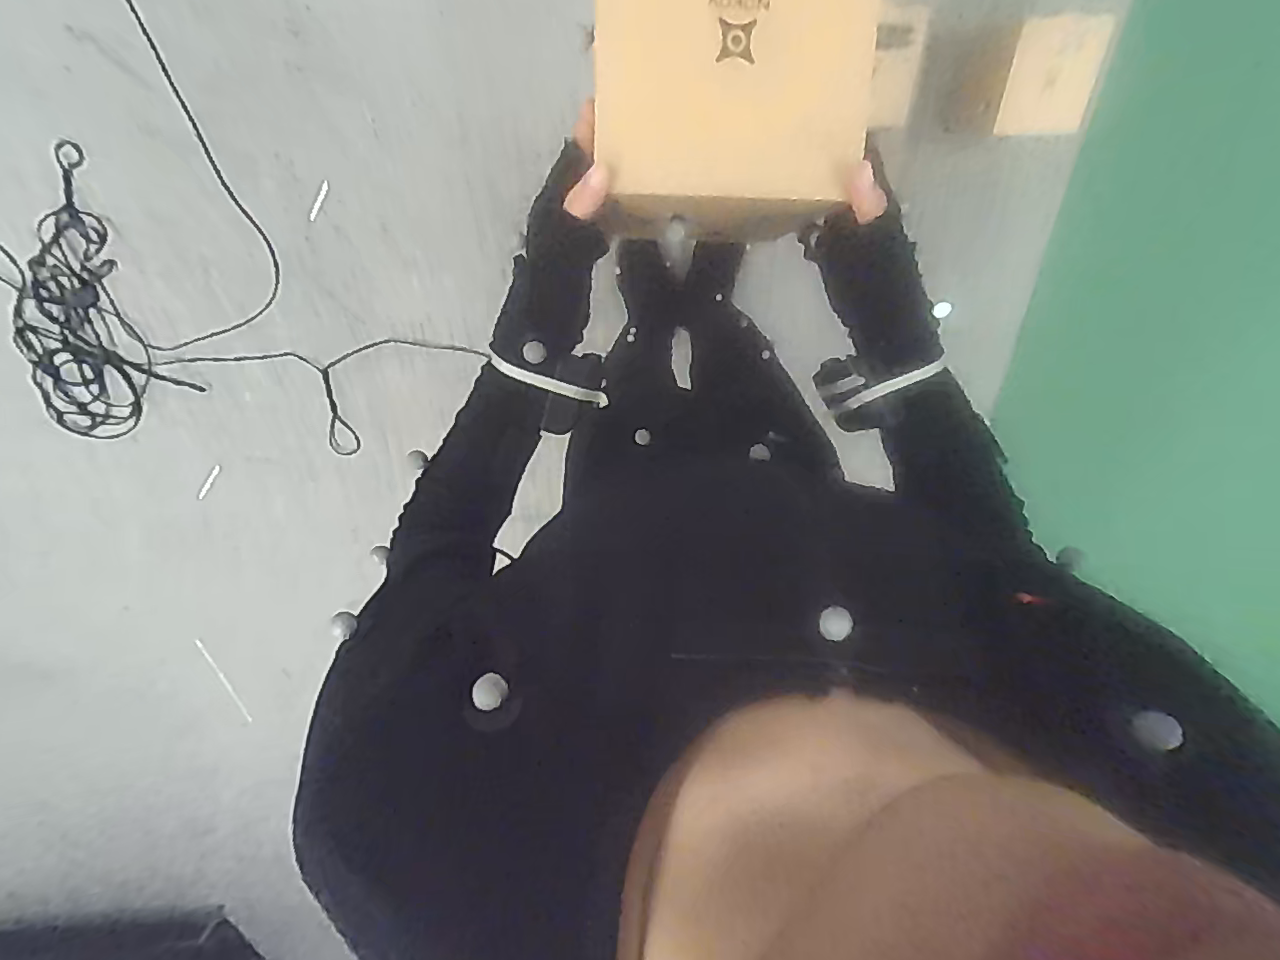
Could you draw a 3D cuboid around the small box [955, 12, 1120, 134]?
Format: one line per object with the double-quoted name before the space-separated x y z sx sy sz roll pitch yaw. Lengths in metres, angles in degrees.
"small box" 0.739 -0.768 1.034 0.168 0.176 0.179 -2 122 -2
